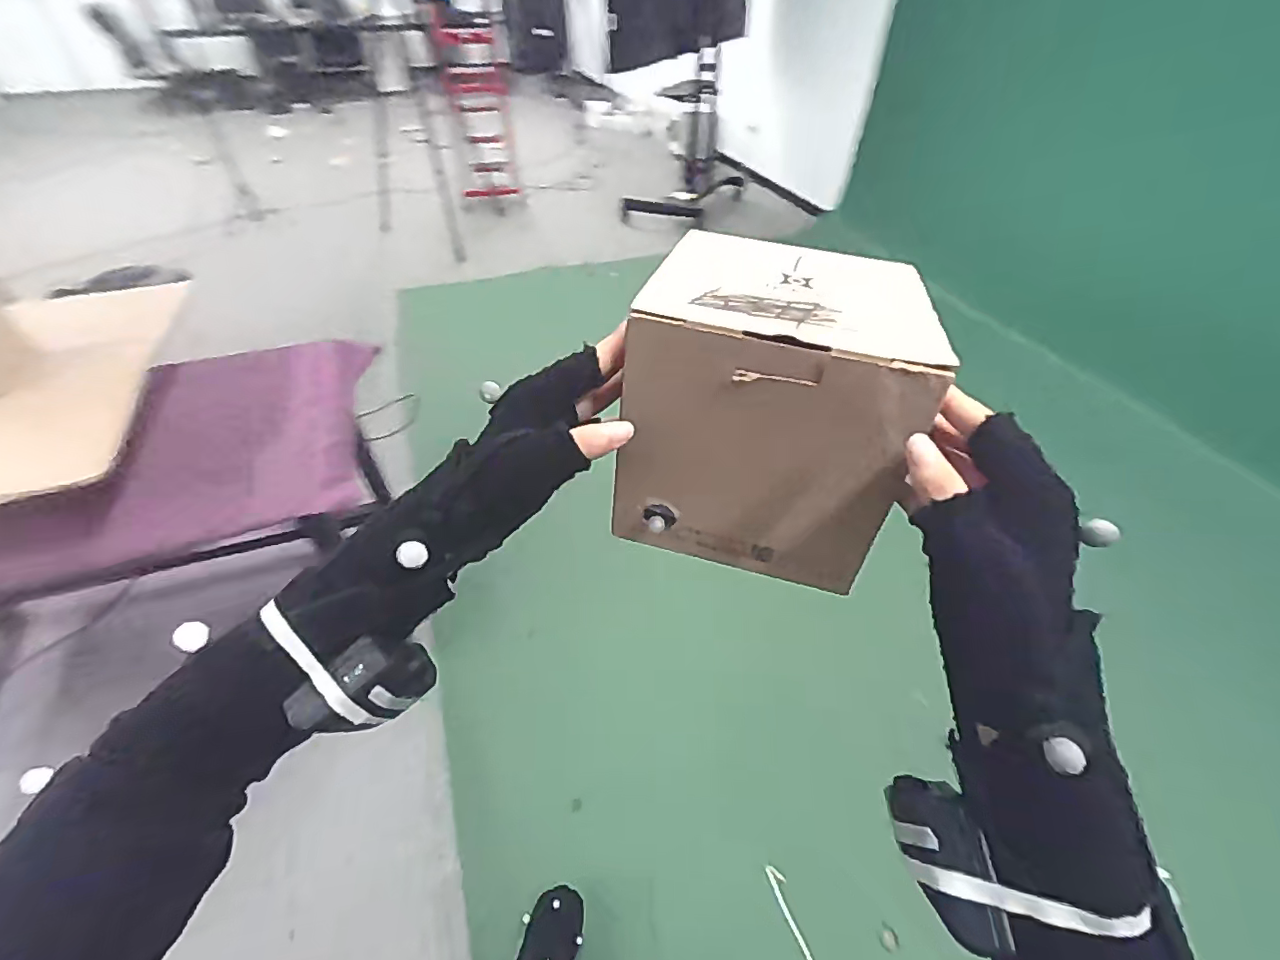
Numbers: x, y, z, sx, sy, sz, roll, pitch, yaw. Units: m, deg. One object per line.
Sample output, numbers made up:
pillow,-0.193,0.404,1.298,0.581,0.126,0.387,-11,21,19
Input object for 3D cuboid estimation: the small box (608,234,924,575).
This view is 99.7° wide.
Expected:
small box,0.078,-0.058,0.392,0.168,0.176,0.179,13,40,8
